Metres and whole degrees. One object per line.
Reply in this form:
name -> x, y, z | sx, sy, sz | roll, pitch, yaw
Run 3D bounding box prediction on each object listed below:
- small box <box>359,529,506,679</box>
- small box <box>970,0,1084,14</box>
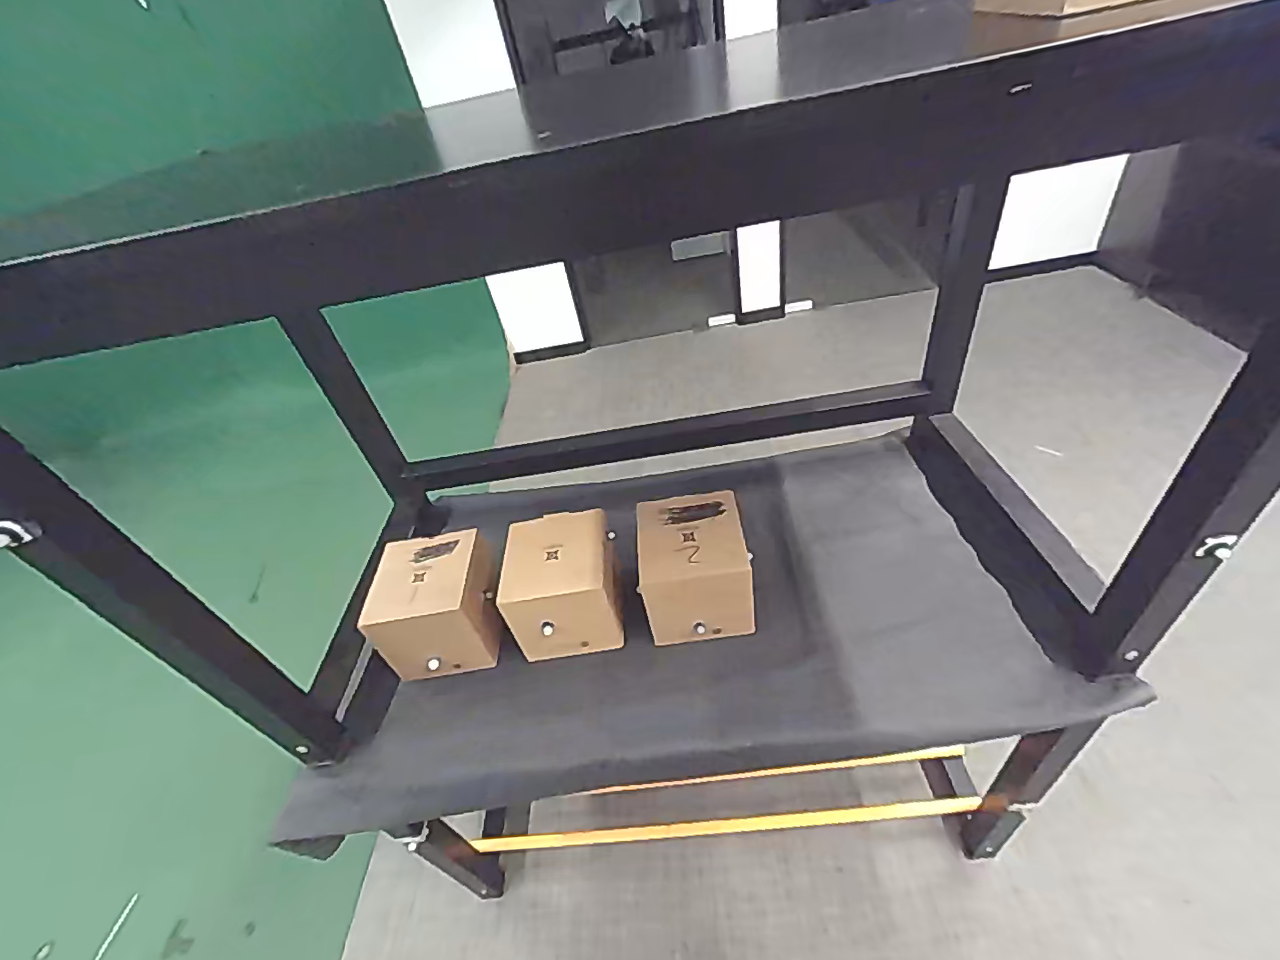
small box -> -0.341, 0.212, 0.932 | 0.168, 0.176, 0.179 | -10, 40, 4
small box -> 0.323, -0.403, 0.321 | 0.168, 0.176, 0.179 | -2, 40, 13
